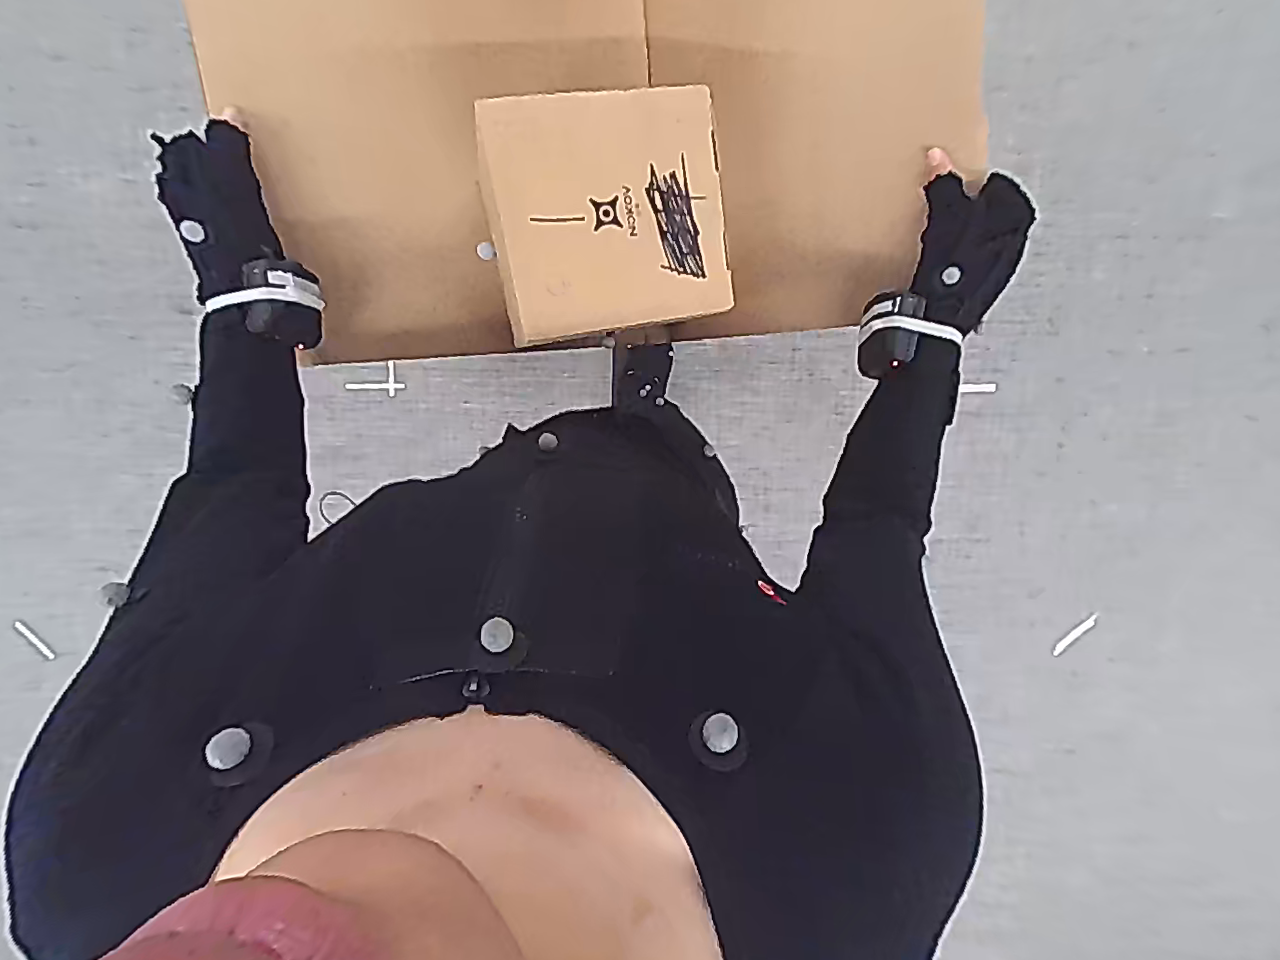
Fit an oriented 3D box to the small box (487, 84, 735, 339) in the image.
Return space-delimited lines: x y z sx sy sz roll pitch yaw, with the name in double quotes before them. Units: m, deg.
"small box" -0.035 -0.224 0.487 0.179 0.176 0.168 -13 105 -12
